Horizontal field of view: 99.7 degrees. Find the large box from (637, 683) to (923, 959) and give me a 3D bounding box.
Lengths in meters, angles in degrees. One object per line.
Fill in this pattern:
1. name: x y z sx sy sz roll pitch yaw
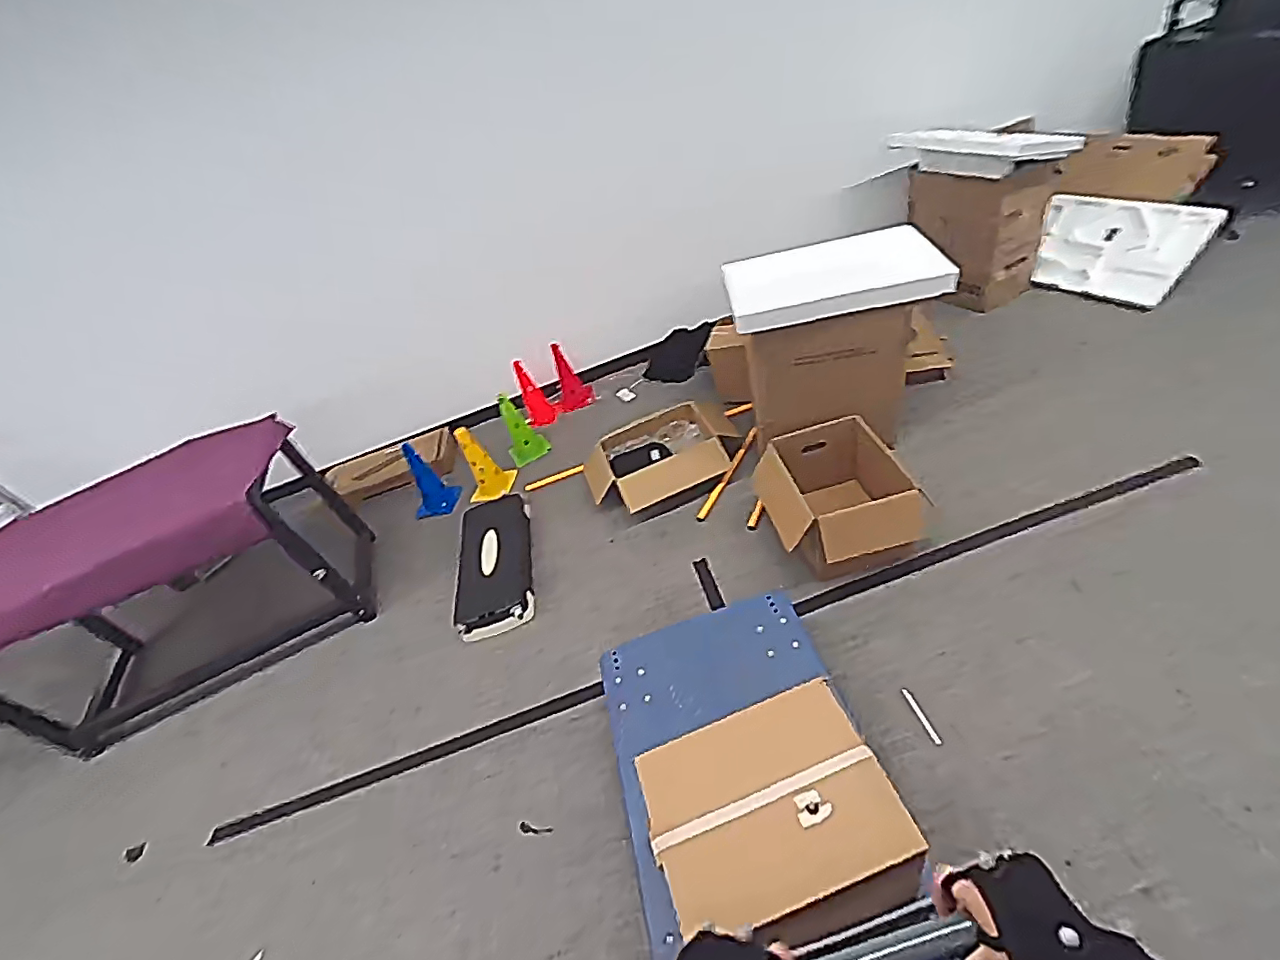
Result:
1. large box: 0.254 0.671 1.031 0.408 0.320 0.320 -22 40 -4
